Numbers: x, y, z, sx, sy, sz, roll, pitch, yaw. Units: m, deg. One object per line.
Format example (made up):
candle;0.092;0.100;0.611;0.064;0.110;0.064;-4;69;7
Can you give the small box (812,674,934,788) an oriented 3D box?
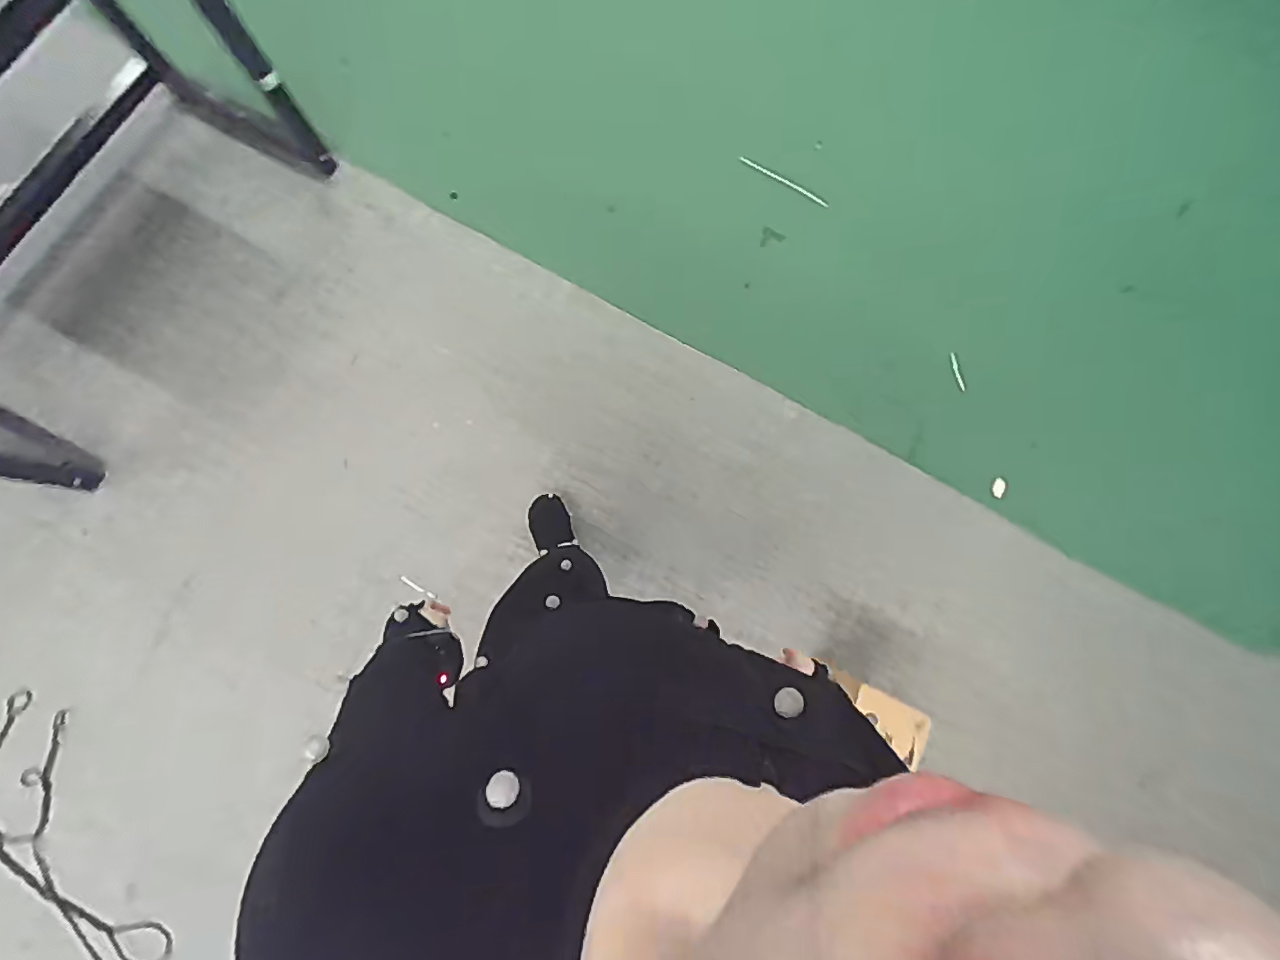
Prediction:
small box;0.524;0.564;1.244;0.179;0.176;0.168;27;80;2
